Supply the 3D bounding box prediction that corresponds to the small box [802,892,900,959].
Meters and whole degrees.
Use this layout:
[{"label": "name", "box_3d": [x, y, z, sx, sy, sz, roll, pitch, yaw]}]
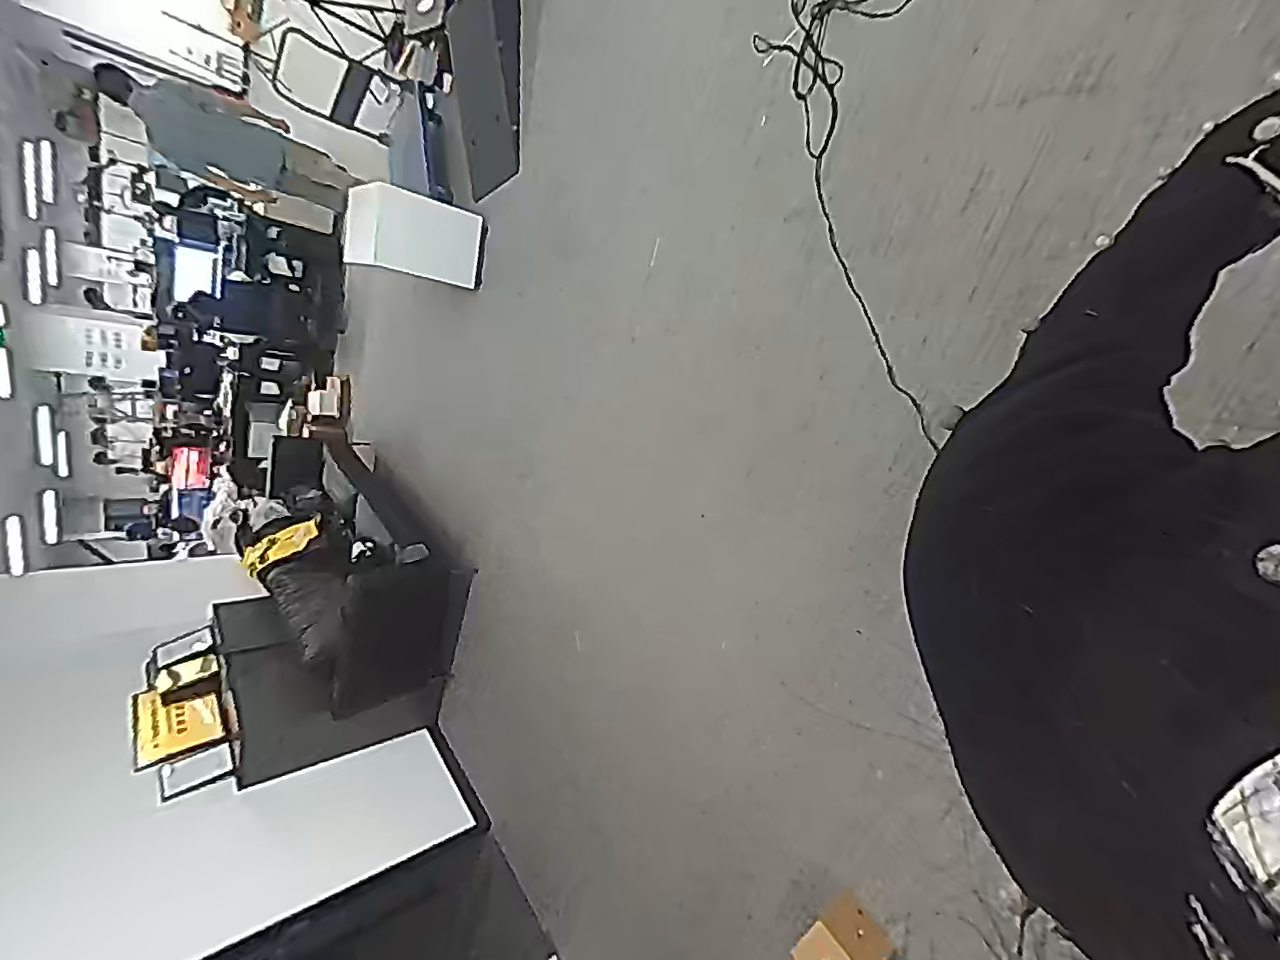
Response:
[{"label": "small box", "box_3d": [0.598, 1.315, 1.515, 0.168, 0.176, 0.179, 43, 120, 39]}]
